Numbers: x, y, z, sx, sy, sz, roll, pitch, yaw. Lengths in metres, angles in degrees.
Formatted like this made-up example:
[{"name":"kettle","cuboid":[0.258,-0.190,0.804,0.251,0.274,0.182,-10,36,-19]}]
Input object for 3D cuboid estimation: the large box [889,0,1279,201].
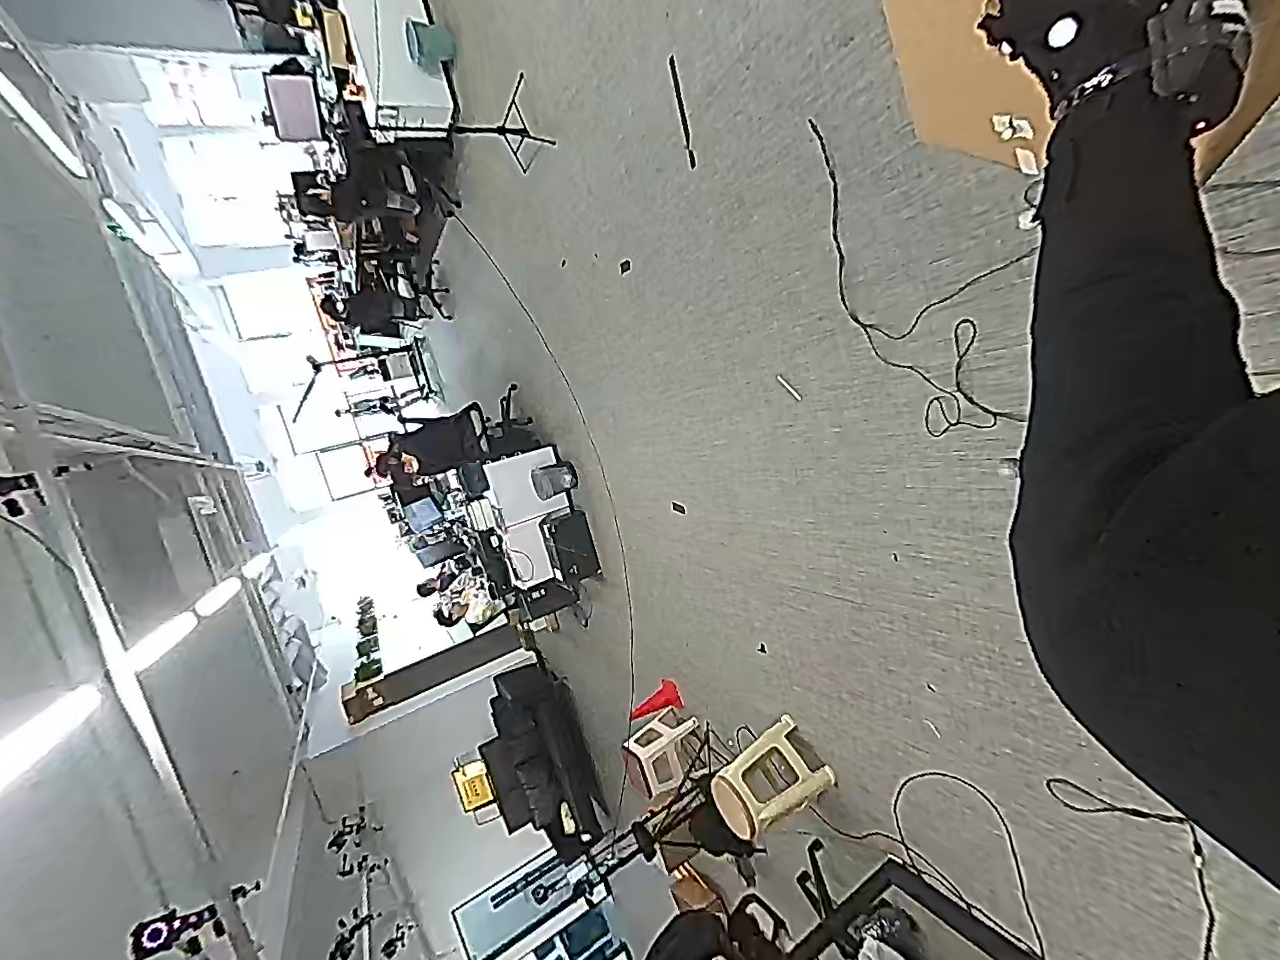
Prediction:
[{"name":"large box","cuboid":[0.492,-0.549,0.481,0.320,0.320,0.408,41,108,30]}]
